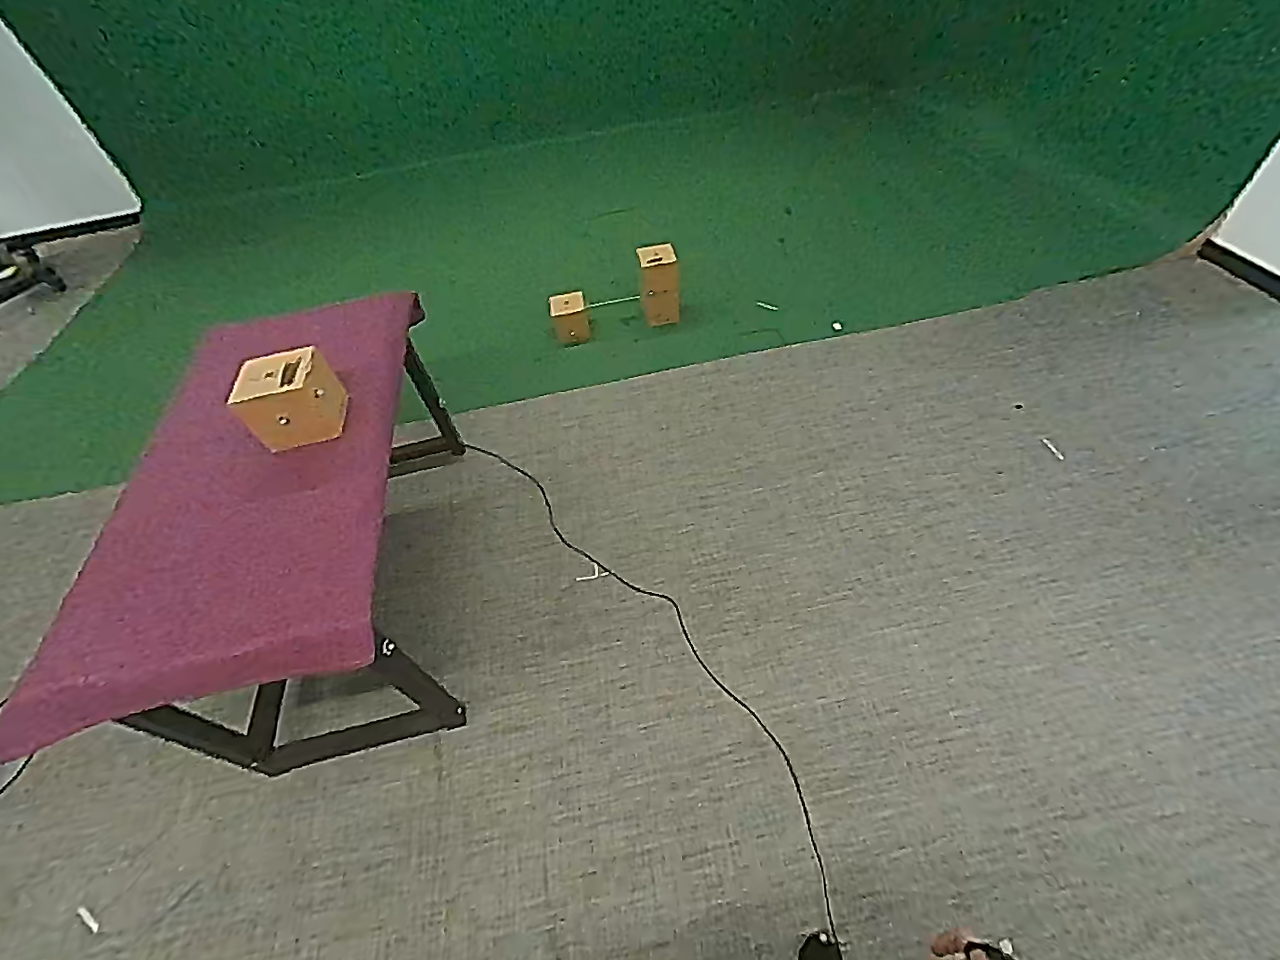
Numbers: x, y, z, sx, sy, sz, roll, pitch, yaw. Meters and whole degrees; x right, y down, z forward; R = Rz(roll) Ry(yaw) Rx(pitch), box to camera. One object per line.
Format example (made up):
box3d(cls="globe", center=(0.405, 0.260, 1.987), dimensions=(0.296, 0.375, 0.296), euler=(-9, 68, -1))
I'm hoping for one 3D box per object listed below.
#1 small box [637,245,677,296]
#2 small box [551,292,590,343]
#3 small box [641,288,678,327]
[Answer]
box3d(cls="small box", center=(0.084, -1.008, 2.617), dimensions=(0.168, 0.176, 0.179), euler=(-10, 50, -2))
box3d(cls="small box", center=(-0.350, -0.817, 2.727), dimensions=(0.168, 0.176, 0.179), euler=(-11, 50, -1))
box3d(cls="small box", center=(0.098, -0.905, 2.744), dimensions=(0.168, 0.176, 0.179), euler=(-10, 51, -2))
